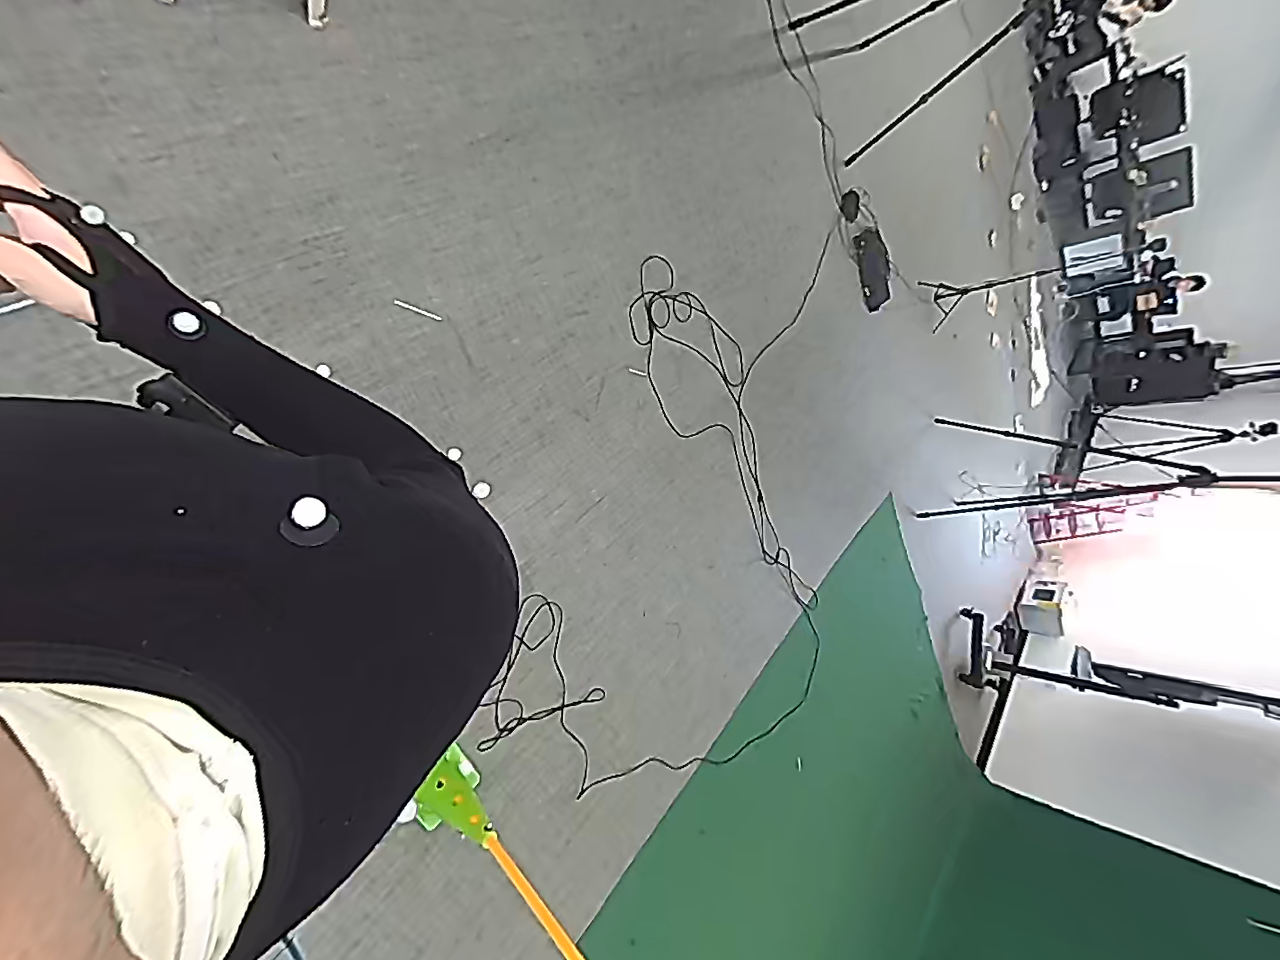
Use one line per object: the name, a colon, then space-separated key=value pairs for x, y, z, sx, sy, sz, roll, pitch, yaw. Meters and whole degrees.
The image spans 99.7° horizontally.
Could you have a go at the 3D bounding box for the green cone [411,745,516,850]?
green cone: x=-0.462 y=0.953 z=1.541 sx=0.202 sy=0.368 sz=0.200 roll=-41 pitch=116 yaw=-35
